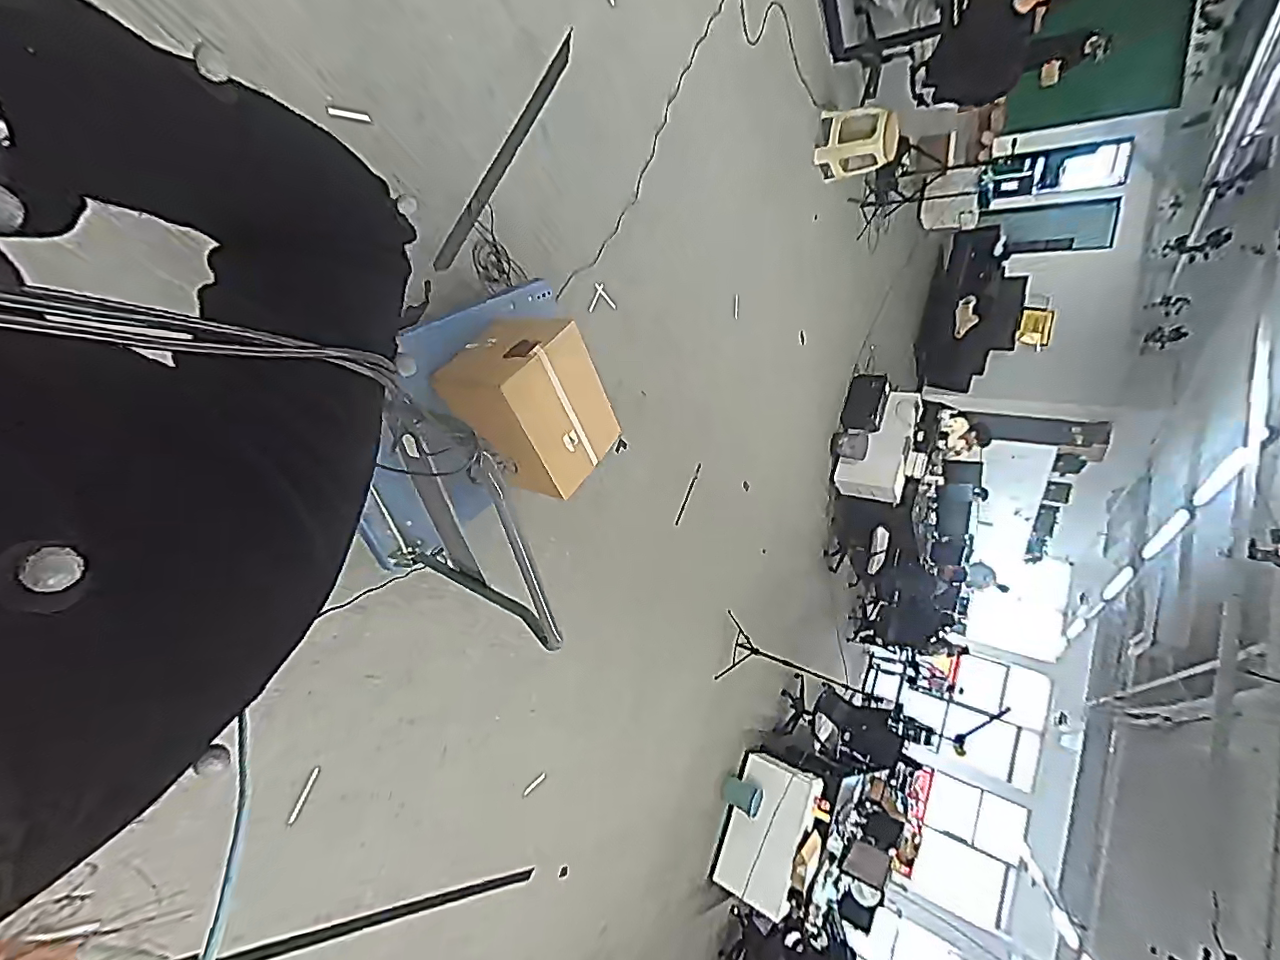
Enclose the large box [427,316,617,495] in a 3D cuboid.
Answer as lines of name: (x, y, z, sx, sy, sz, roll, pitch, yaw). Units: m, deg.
large box: (-0.326, -0.221, 1.574, 0.320, 0.320, 0.408, -53, 138, -31)
